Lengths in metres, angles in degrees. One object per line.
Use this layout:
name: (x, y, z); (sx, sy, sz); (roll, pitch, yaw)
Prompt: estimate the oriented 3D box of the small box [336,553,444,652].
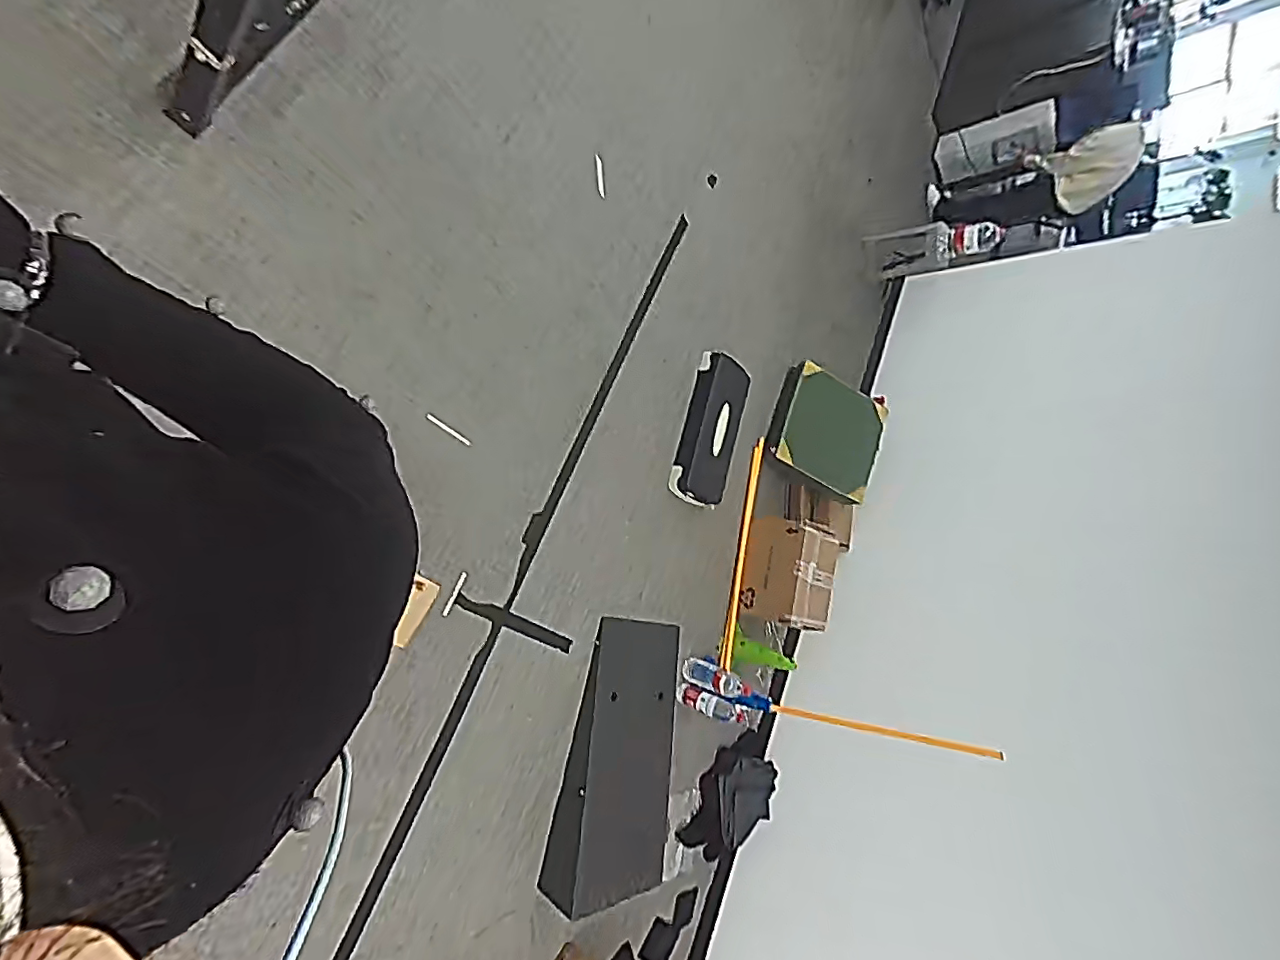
small box: (-0.651, 0.311, 1.396); (0.168, 0.176, 0.179); (46, 62, -38)
